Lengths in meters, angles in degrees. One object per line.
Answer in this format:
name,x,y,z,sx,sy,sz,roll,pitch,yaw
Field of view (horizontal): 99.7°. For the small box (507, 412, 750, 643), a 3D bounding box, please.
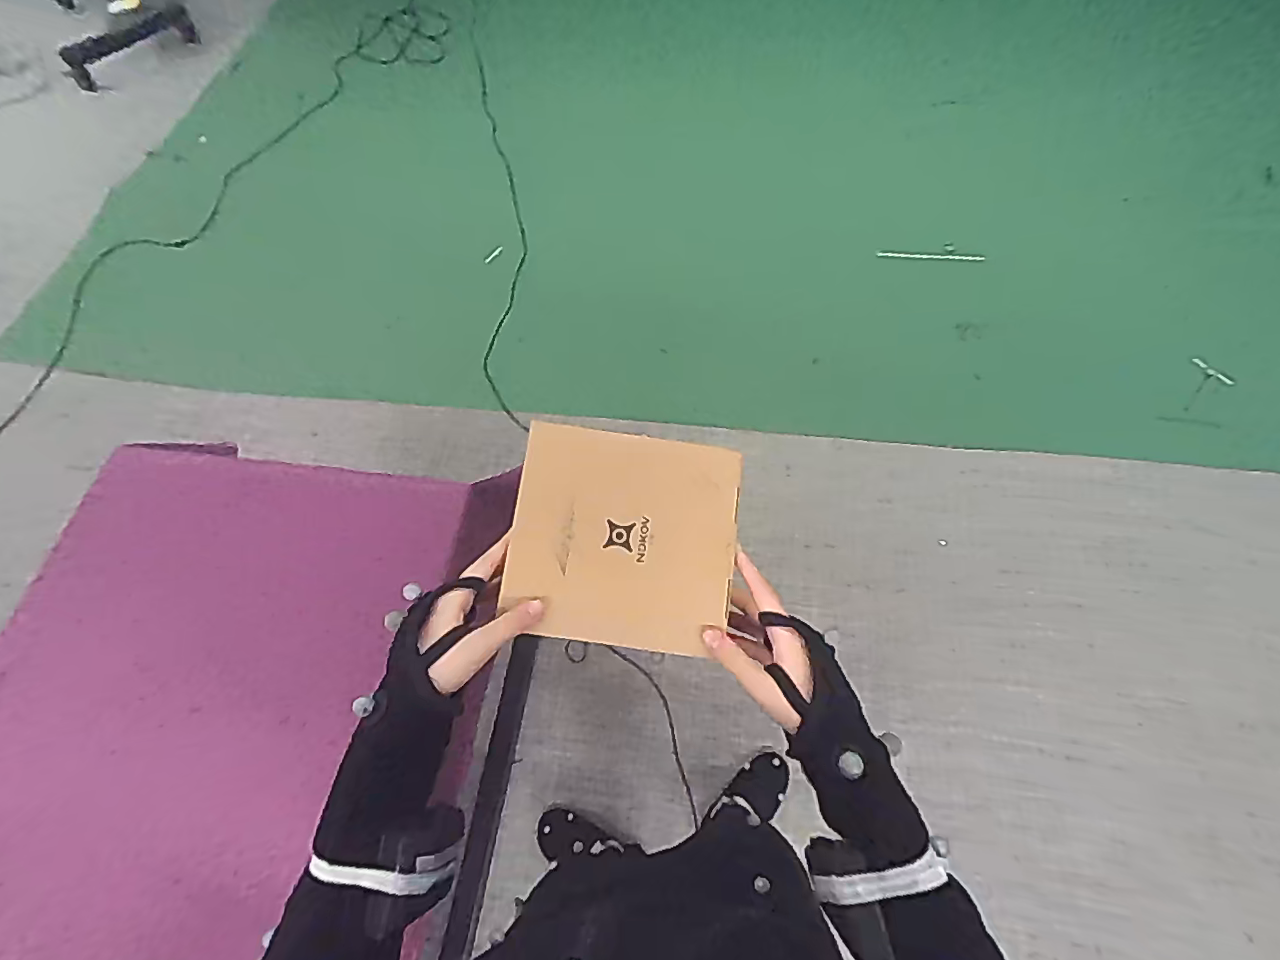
small box,-0.009,0.052,0.513,0.179,0.176,0.168,9,76,0
